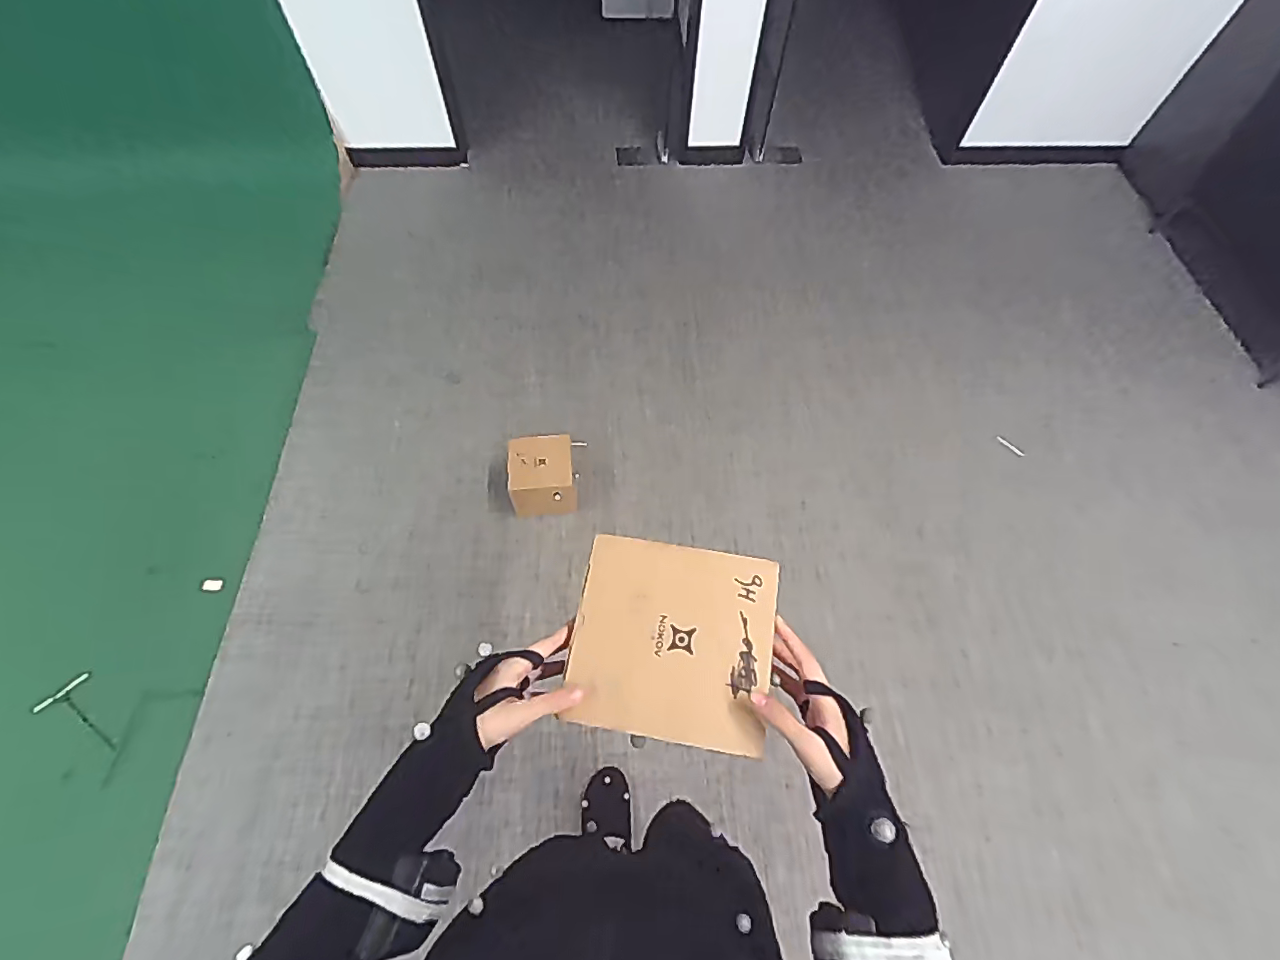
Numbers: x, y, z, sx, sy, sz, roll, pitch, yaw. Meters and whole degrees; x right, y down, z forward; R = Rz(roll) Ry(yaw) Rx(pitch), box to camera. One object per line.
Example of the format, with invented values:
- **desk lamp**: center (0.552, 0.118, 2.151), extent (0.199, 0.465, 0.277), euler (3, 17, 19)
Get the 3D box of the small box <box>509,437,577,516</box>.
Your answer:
- **small box**: center (-0.275, -0.006, 1.561), extent (0.179, 0.176, 0.168), euler (-5, 62, -3)
